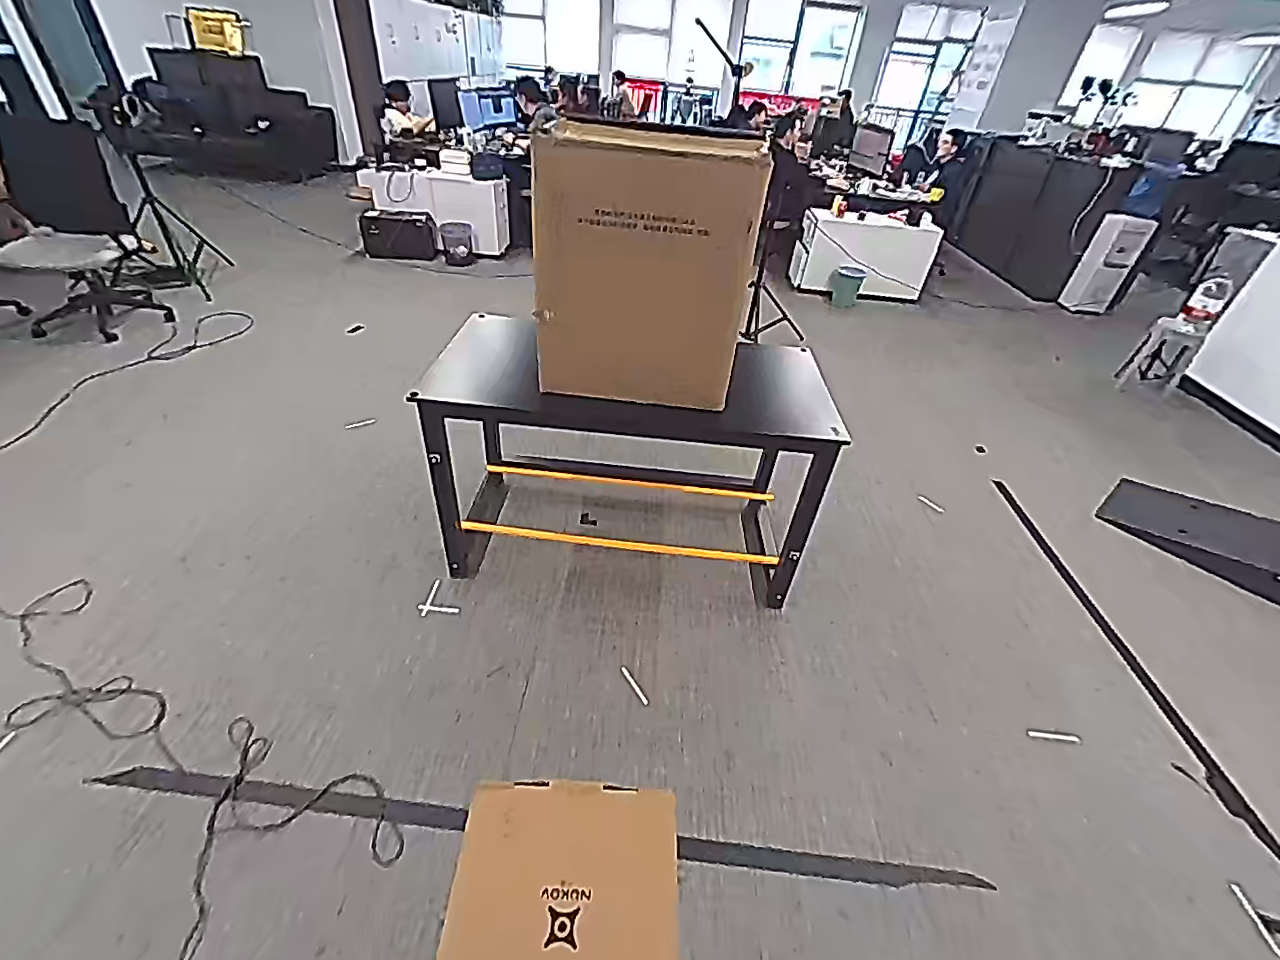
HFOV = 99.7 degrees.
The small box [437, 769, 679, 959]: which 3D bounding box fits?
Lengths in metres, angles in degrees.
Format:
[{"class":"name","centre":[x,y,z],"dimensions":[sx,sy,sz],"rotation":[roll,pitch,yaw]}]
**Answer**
[{"class":"small box","centre":[-0.059,0.362,0.441],"dimensions":[0.168,0.176,0.179],"rotation":[3,44,-1]}]
